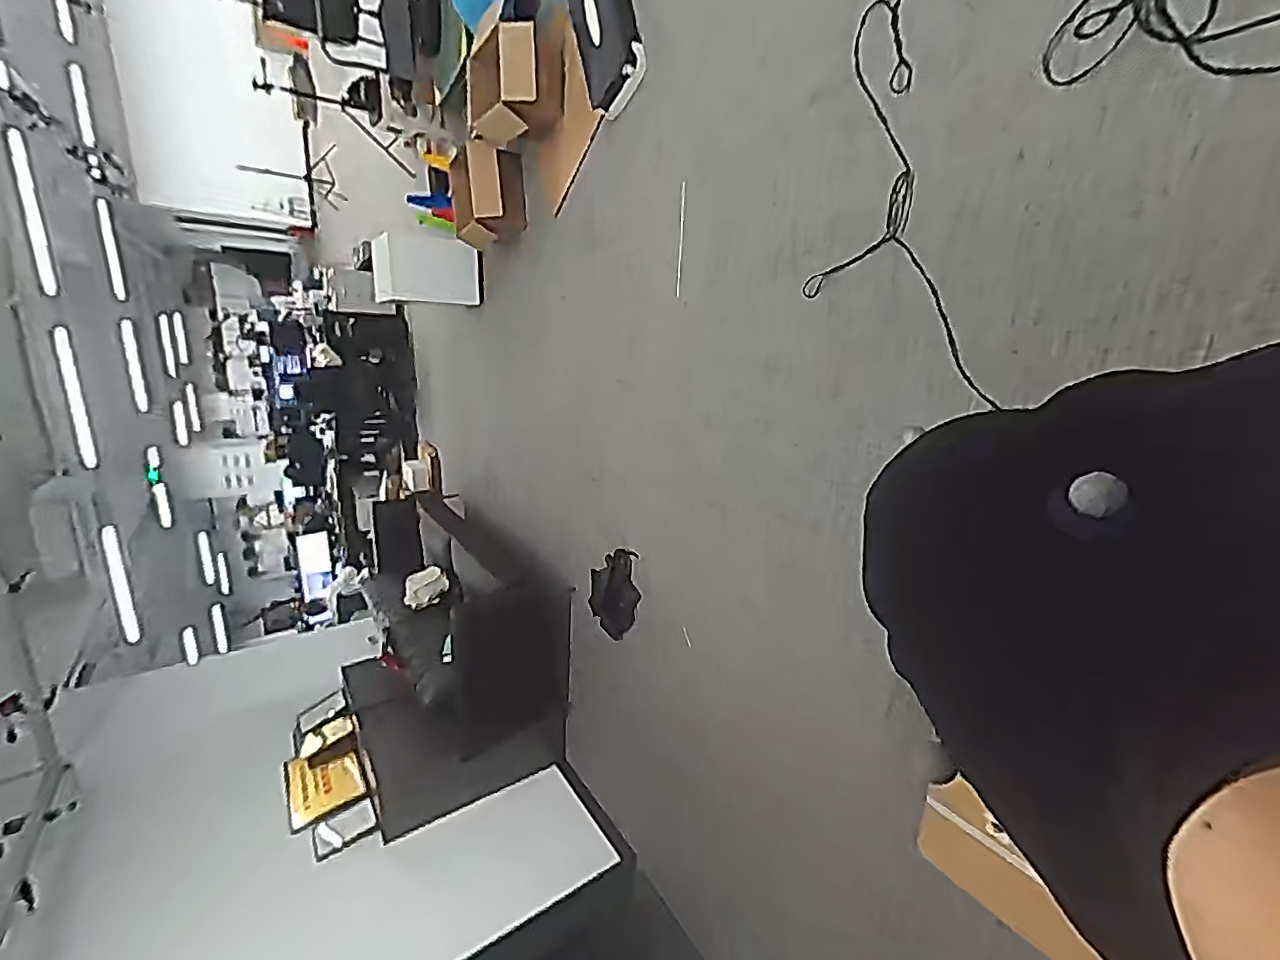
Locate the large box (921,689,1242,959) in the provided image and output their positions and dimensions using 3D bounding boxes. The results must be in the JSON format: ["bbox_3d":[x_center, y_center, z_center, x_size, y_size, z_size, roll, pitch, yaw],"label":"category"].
[{"bbox_3d":[0.875,0.710,1.108,0.408,0.320,0.320,24,116,52],"label":"large box"}]
